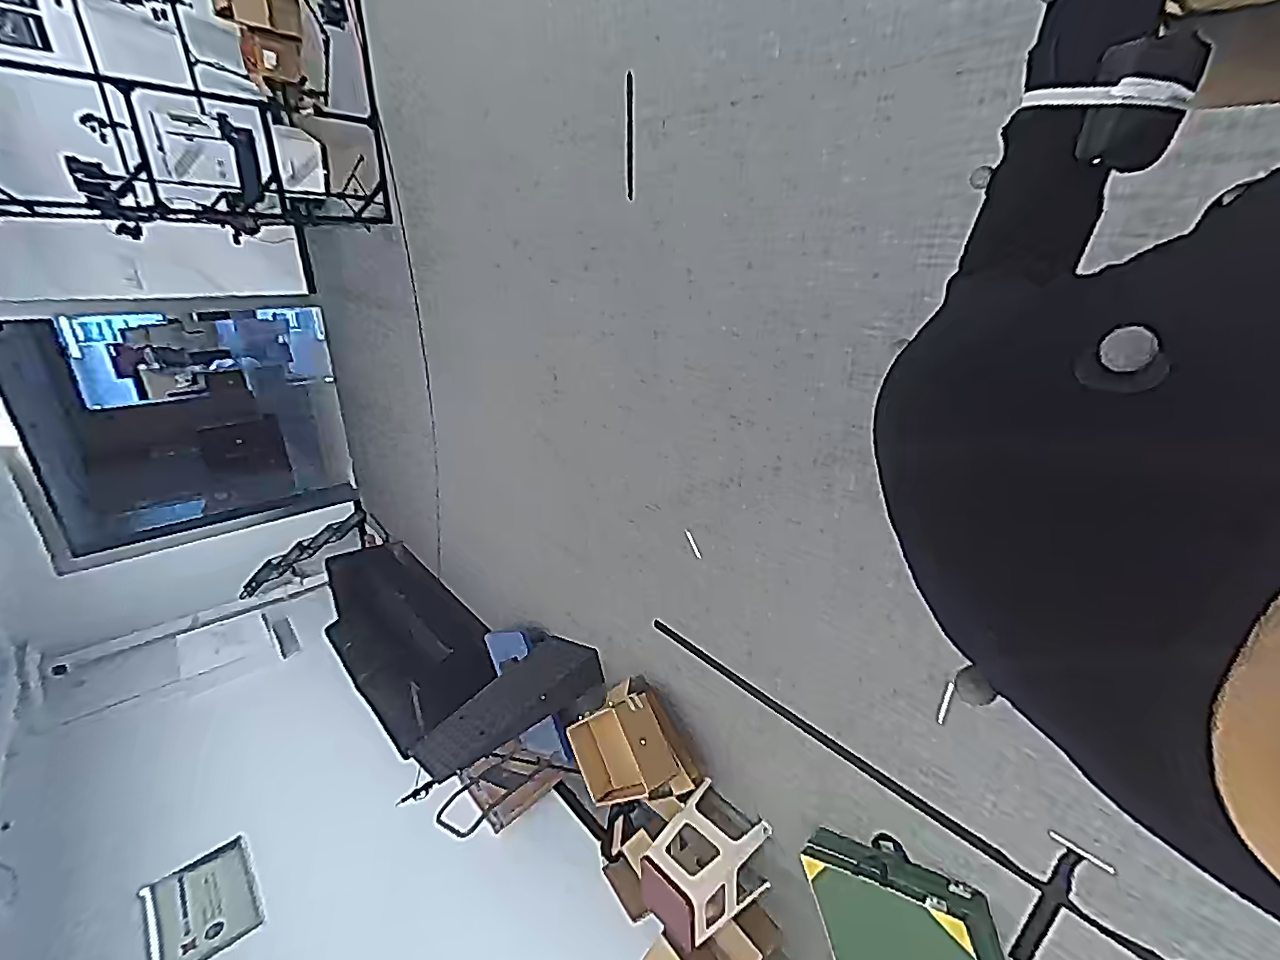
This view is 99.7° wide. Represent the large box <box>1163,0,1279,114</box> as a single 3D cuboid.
[{"bbox_3d":[0.561,-0.398,0.246,0.408,0.320,0.320,22,122,38],"label":"large box"}]
